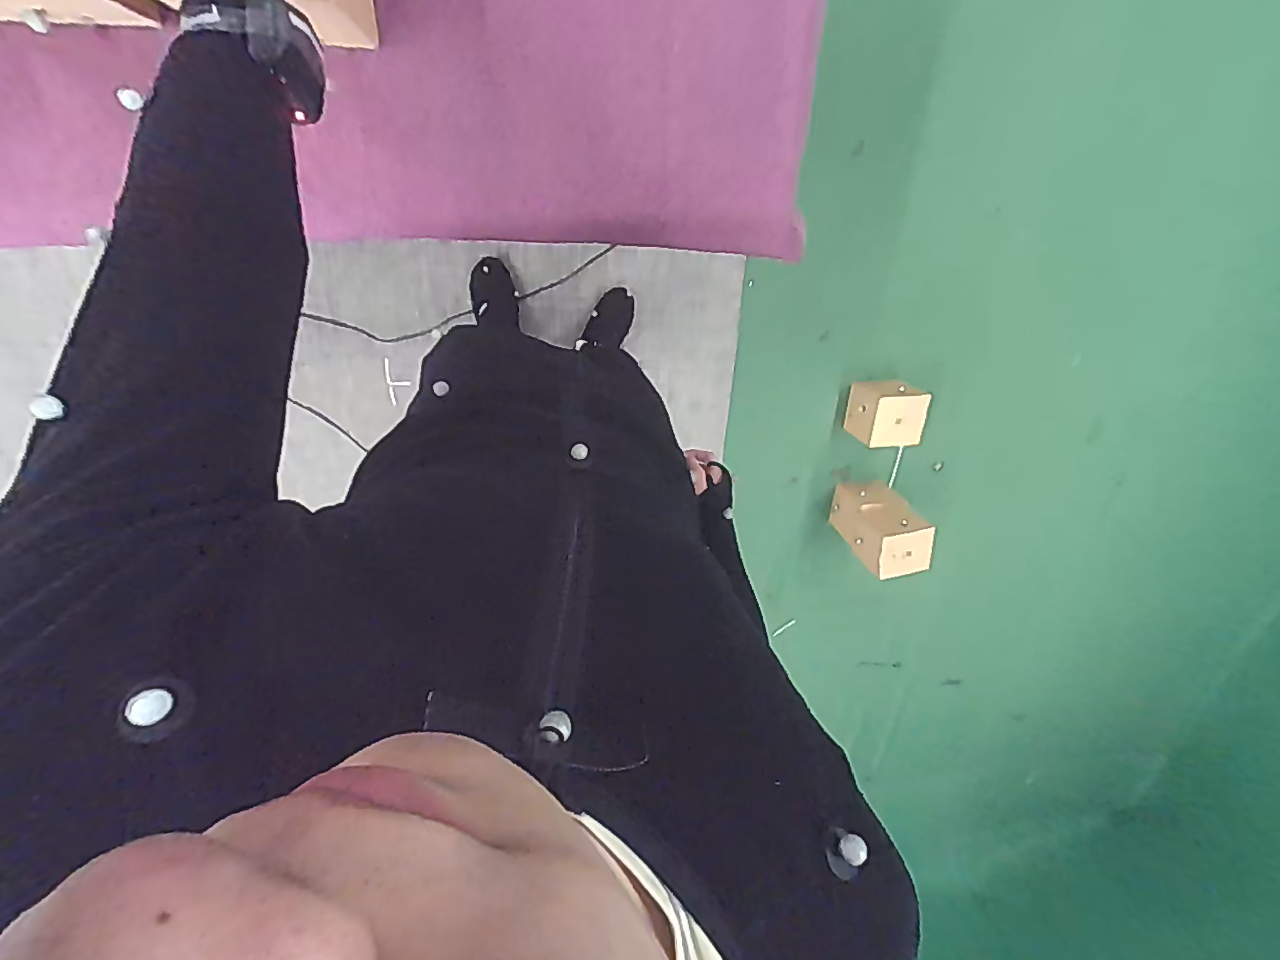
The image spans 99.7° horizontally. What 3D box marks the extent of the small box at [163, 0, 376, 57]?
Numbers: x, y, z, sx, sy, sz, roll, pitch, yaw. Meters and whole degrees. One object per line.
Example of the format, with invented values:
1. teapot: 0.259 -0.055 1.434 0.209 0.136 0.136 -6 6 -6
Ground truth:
1. small box: -0.366 -0.528 0.503 0.168 0.176 0.179 -2 117 -9

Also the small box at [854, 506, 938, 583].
1. small box: 0.822 0.202 1.748 0.179 0.176 0.168 -11 118 -4

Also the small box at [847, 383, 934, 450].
1. small box: 0.788 -0.207 1.719 0.179 0.176 0.168 -5 117 -9

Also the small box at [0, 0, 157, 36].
1. small box: -0.584 -0.518 0.466 0.168 0.176 0.179 -5 119 -8
